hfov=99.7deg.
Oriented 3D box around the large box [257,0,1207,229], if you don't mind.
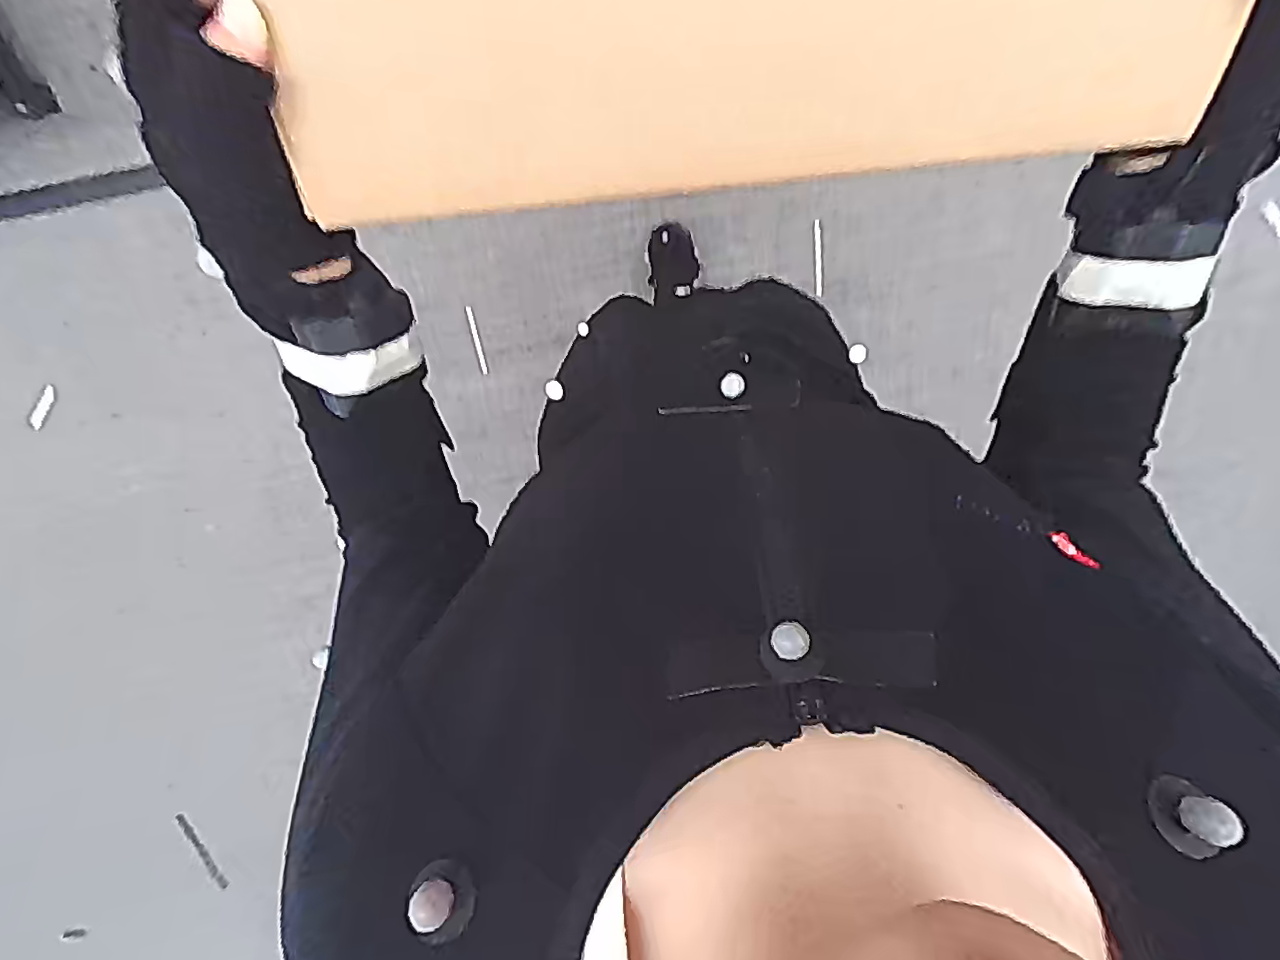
[{"bbox_3d":[0.027,-0.353,0.300,0.408,0.320,0.320,-6,125,1],"label":"large box"}]
